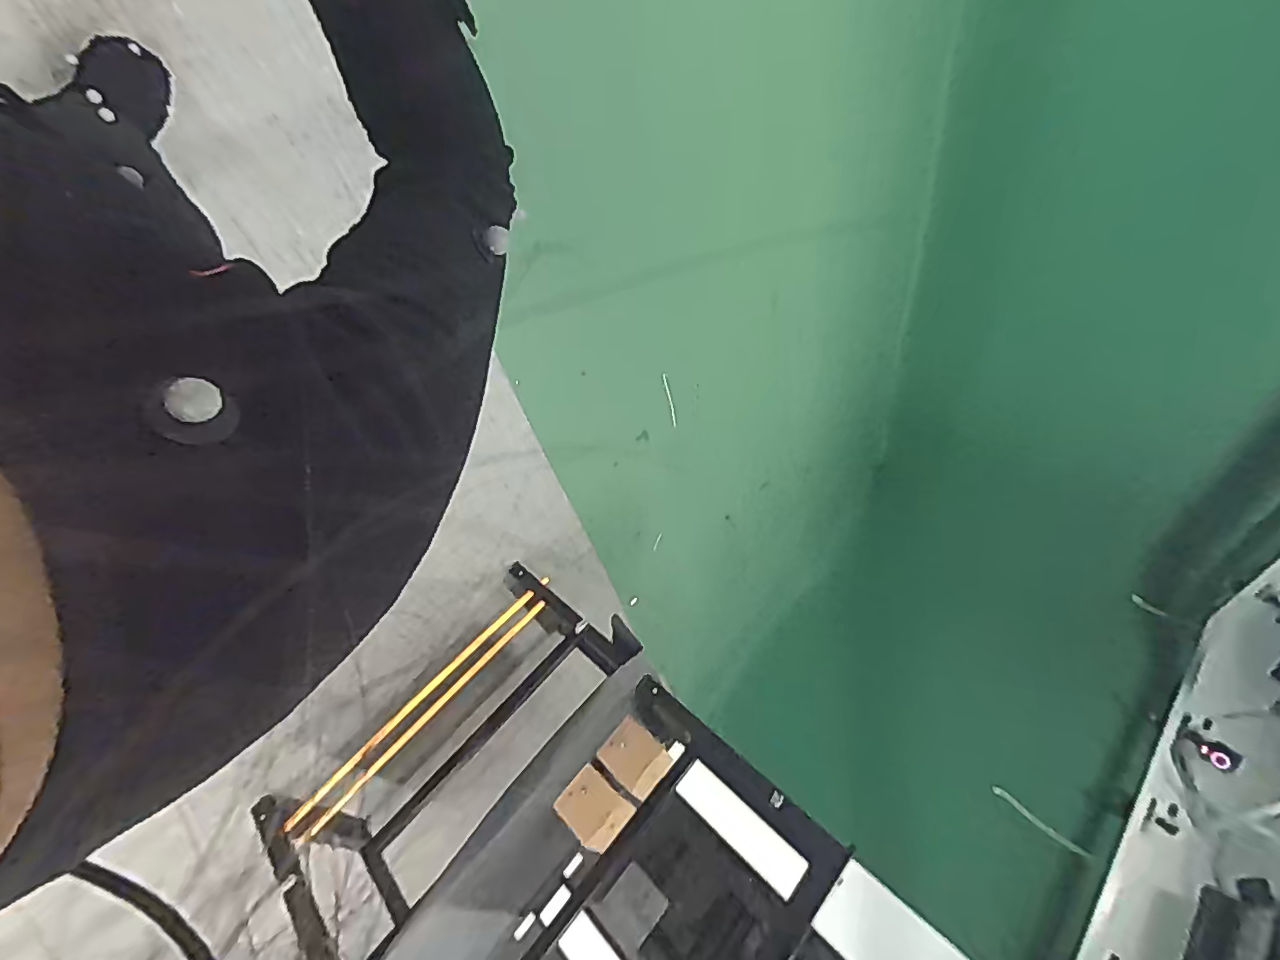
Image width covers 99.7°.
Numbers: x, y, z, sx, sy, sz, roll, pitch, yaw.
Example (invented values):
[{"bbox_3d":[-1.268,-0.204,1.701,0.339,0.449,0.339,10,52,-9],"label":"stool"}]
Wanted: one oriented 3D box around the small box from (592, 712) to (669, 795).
[{"bbox_3d":[-0.031,0.908,1.805,0.168,0.176,0.179,-45,143,-19],"label":"small box"}]
